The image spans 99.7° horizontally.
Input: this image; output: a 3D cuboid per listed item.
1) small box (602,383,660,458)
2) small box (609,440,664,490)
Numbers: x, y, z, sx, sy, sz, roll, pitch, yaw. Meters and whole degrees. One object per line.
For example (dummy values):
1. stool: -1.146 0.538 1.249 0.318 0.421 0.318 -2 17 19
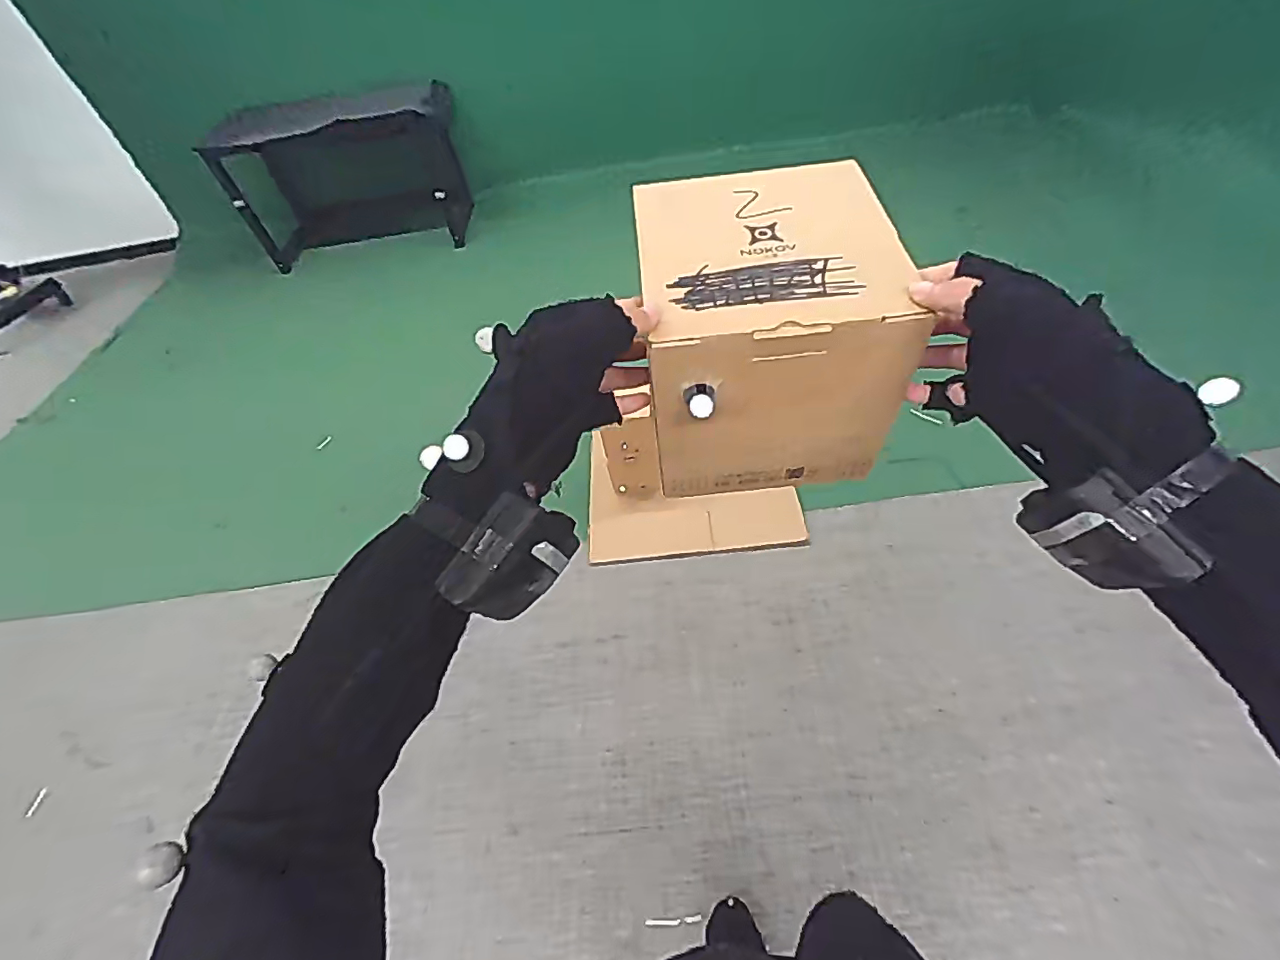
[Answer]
1. small box: -0.026 -0.194 1.769 0.168 0.176 0.179 -5 49 6
2. small box: -0.008 -0.078 1.882 0.168 0.176 0.179 -6 48 6
